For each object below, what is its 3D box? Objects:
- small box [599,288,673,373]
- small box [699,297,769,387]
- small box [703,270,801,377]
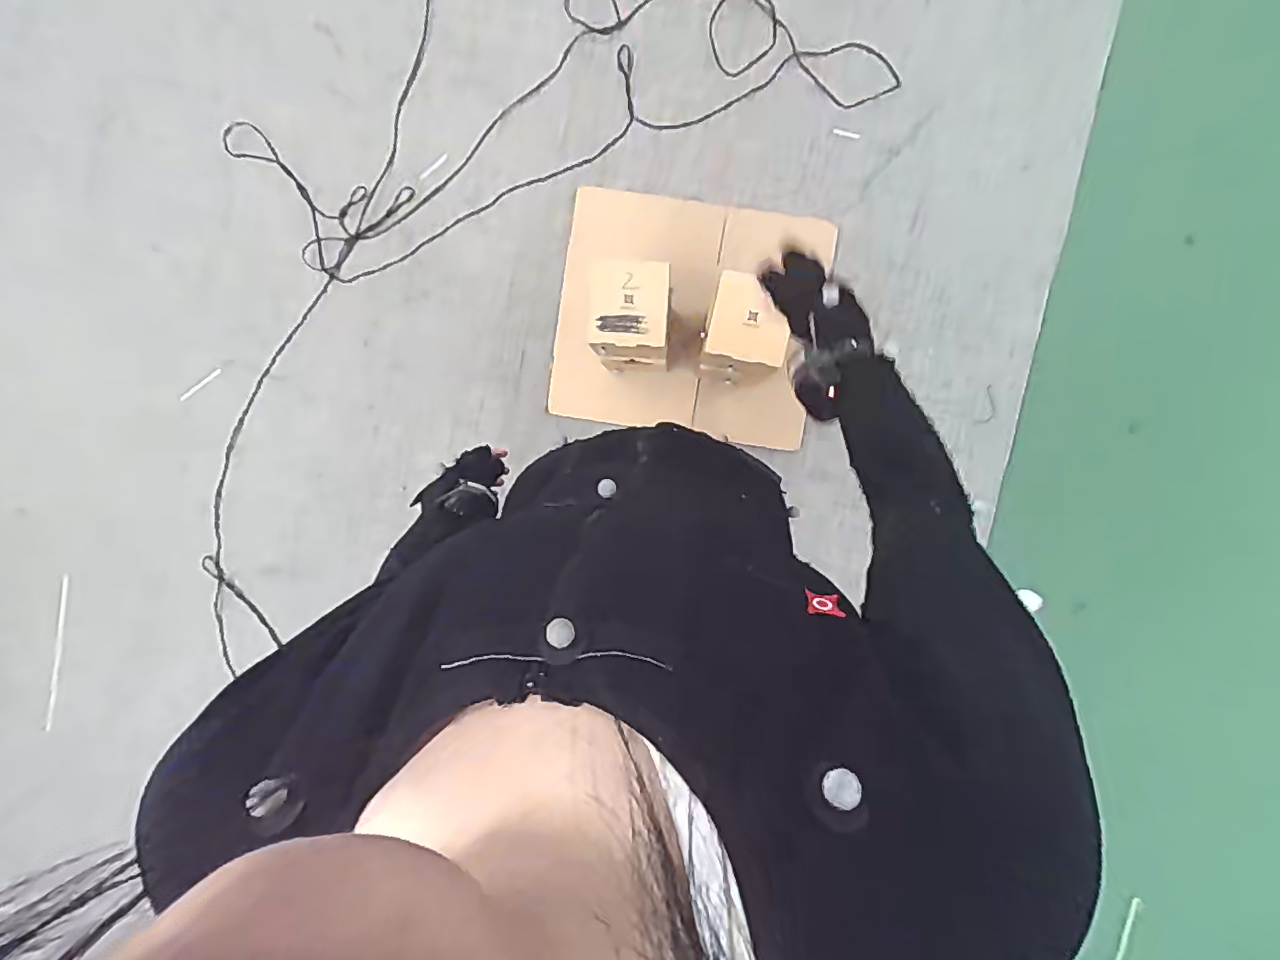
[{"bbox_3d":[-0.006,-0.368,1.361,0.168,0.176,0.179,5,94,3],"label":"small box"},{"bbox_3d":[0.243,-0.340,1.354,0.168,0.176,0.179,9,95,4],"label":"small box"},{"bbox_3d":[0.237,-0.336,1.192,0.168,0.176,0.179,12,95,2],"label":"small box"}]
